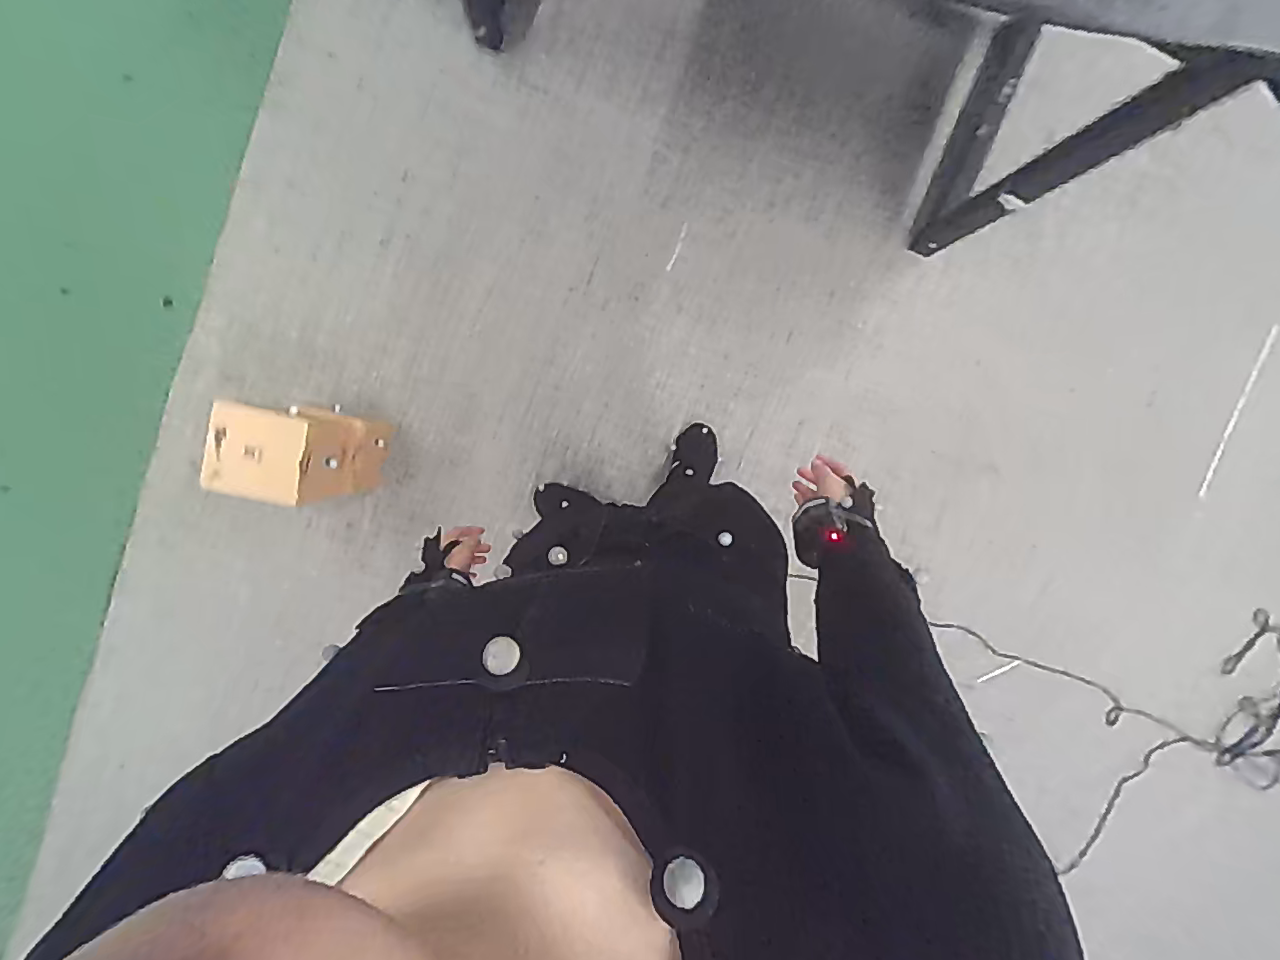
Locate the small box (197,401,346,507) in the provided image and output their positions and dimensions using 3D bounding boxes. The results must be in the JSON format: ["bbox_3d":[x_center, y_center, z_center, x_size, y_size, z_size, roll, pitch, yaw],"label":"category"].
[{"bbox_3d":[-0.711,-0.054,1.065,0.179,0.176,0.168,13,94,-5],"label":"small box"}]

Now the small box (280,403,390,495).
[{"bbox_3d":[-0.696,-0.073,1.228,0.179,0.176,0.168,14,94,-4],"label":"small box"}]
